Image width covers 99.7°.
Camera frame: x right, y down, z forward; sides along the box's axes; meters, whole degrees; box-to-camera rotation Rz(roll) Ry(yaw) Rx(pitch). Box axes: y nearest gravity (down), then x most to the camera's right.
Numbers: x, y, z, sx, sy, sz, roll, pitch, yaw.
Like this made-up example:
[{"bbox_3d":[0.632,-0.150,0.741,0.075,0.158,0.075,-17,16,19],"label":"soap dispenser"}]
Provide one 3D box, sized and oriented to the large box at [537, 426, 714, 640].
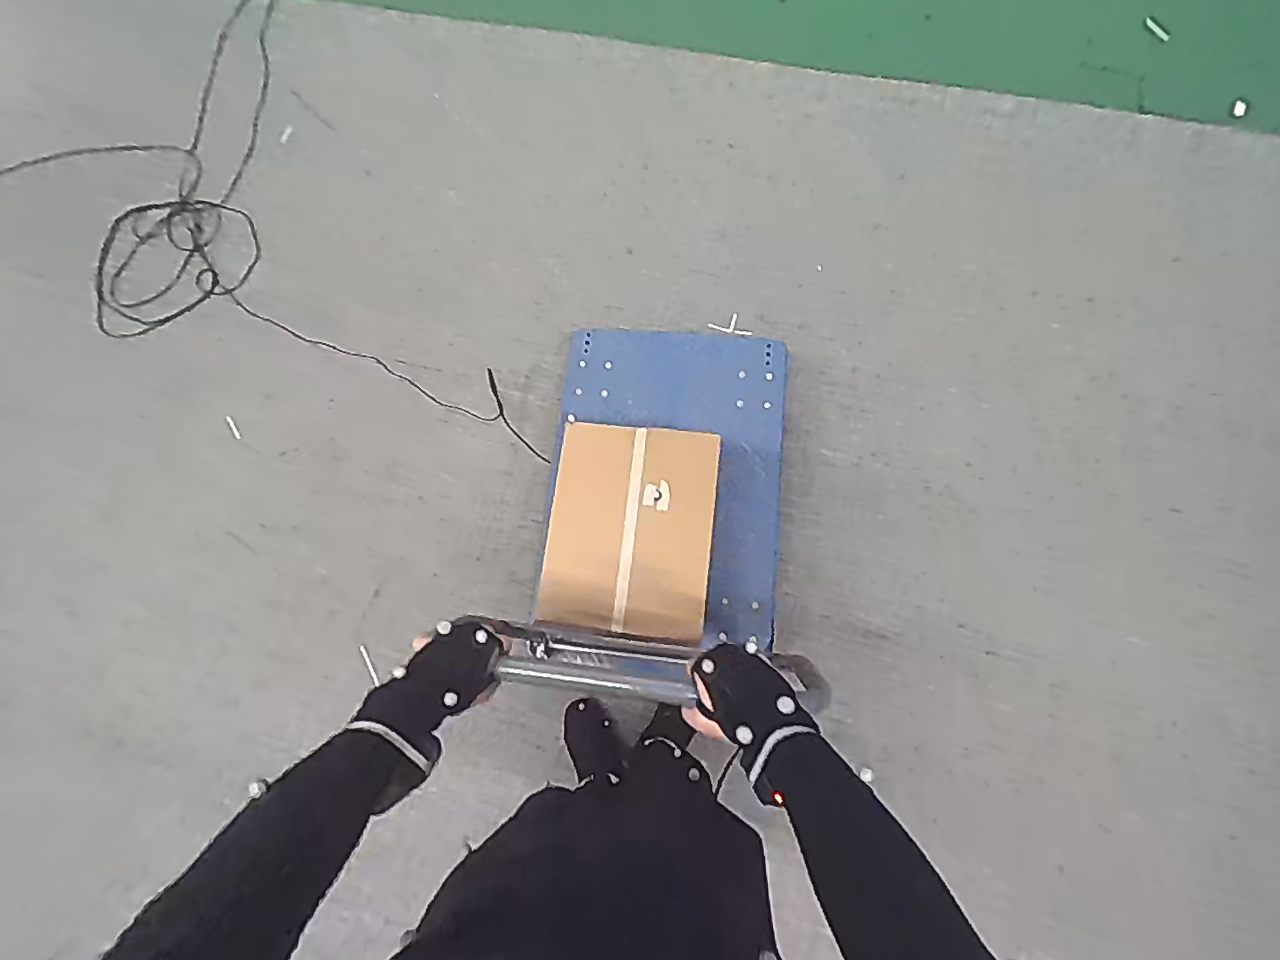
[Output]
[{"bbox_3d":[-0.012,0.131,1.195,0.320,0.320,0.408,6,76,6],"label":"large box"}]
